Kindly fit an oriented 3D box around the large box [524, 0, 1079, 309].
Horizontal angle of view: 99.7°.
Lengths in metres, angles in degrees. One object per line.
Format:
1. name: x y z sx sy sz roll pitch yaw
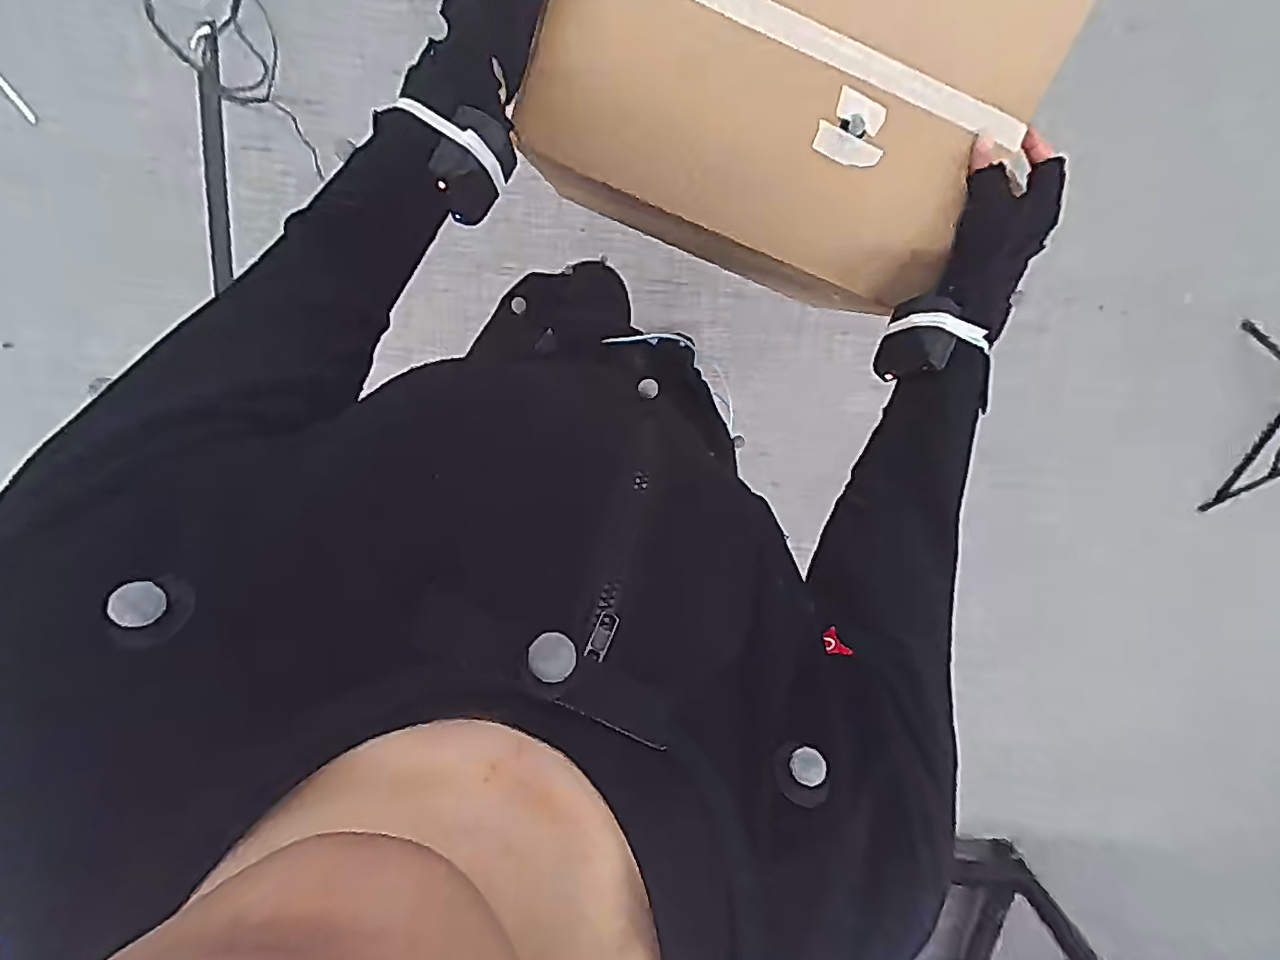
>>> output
1. large box: 0.131 -0.411 0.587 0.408 0.320 0.320 20 110 -8
